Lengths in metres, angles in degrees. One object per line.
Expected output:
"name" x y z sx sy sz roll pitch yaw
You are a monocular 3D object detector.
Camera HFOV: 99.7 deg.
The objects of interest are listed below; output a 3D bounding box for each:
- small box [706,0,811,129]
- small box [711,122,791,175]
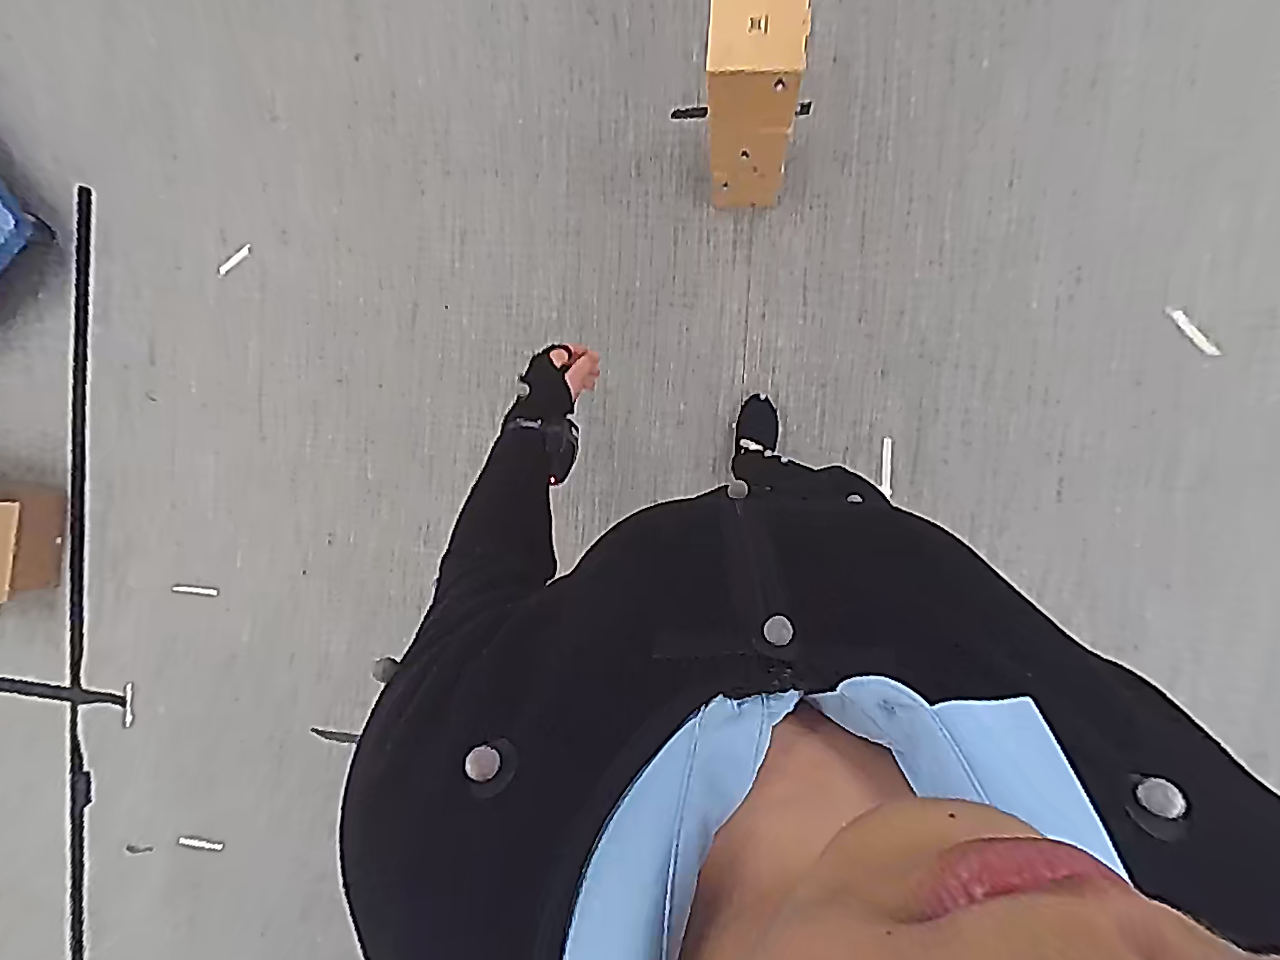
"small box" 0.220 -0.802 1.033 0.179 0.176 0.168 4 92 7
"small box" 0.250 -0.804 1.193 0.168 0.176 0.179 8 92 6
